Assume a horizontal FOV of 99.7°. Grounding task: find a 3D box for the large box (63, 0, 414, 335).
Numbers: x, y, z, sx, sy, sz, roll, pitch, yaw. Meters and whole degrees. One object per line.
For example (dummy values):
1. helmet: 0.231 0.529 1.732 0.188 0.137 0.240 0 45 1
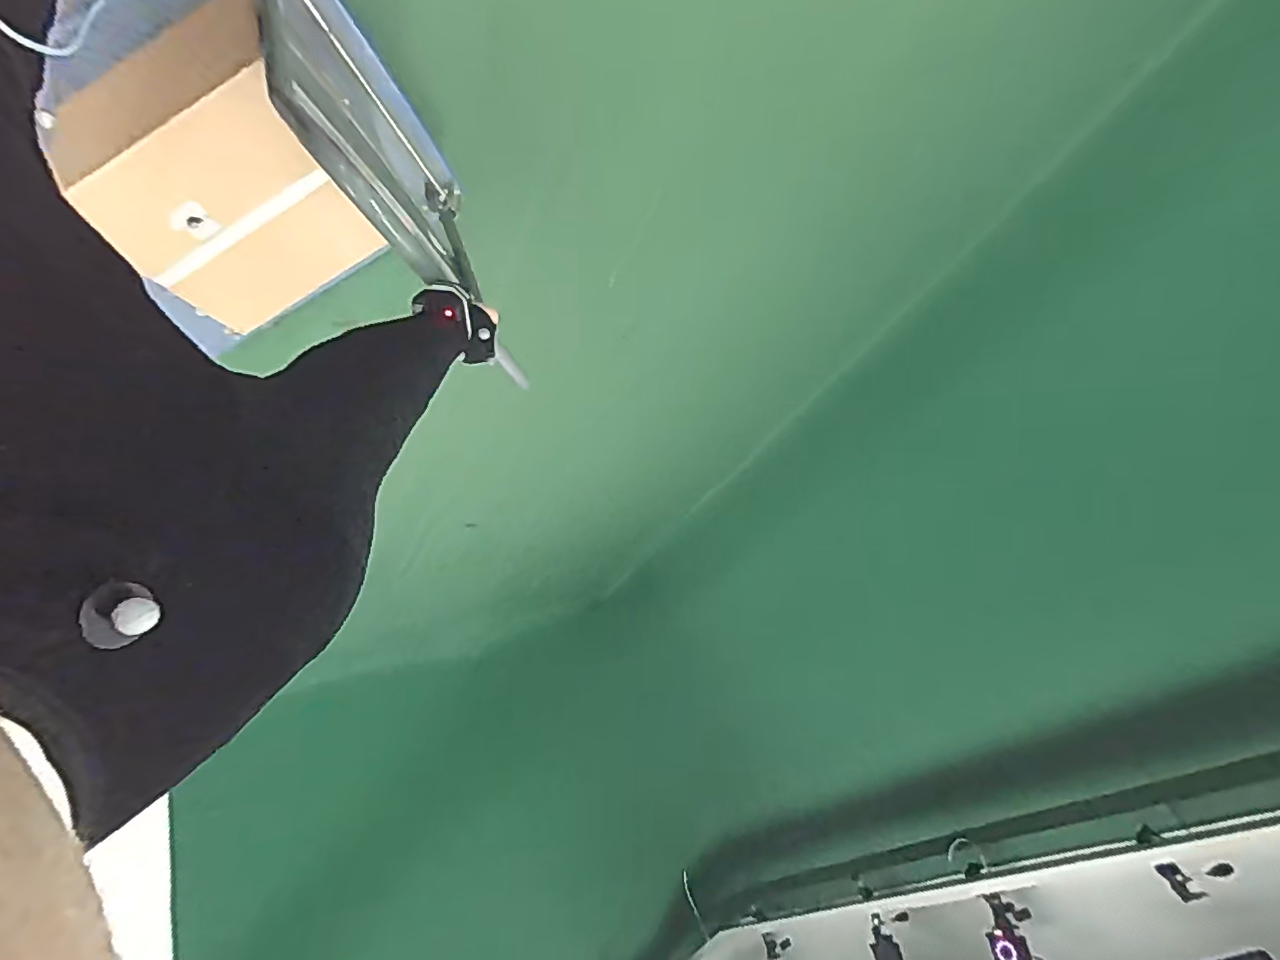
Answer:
1. large box: -0.699 -0.553 0.974 0.408 0.320 0.320 -30 153 5
